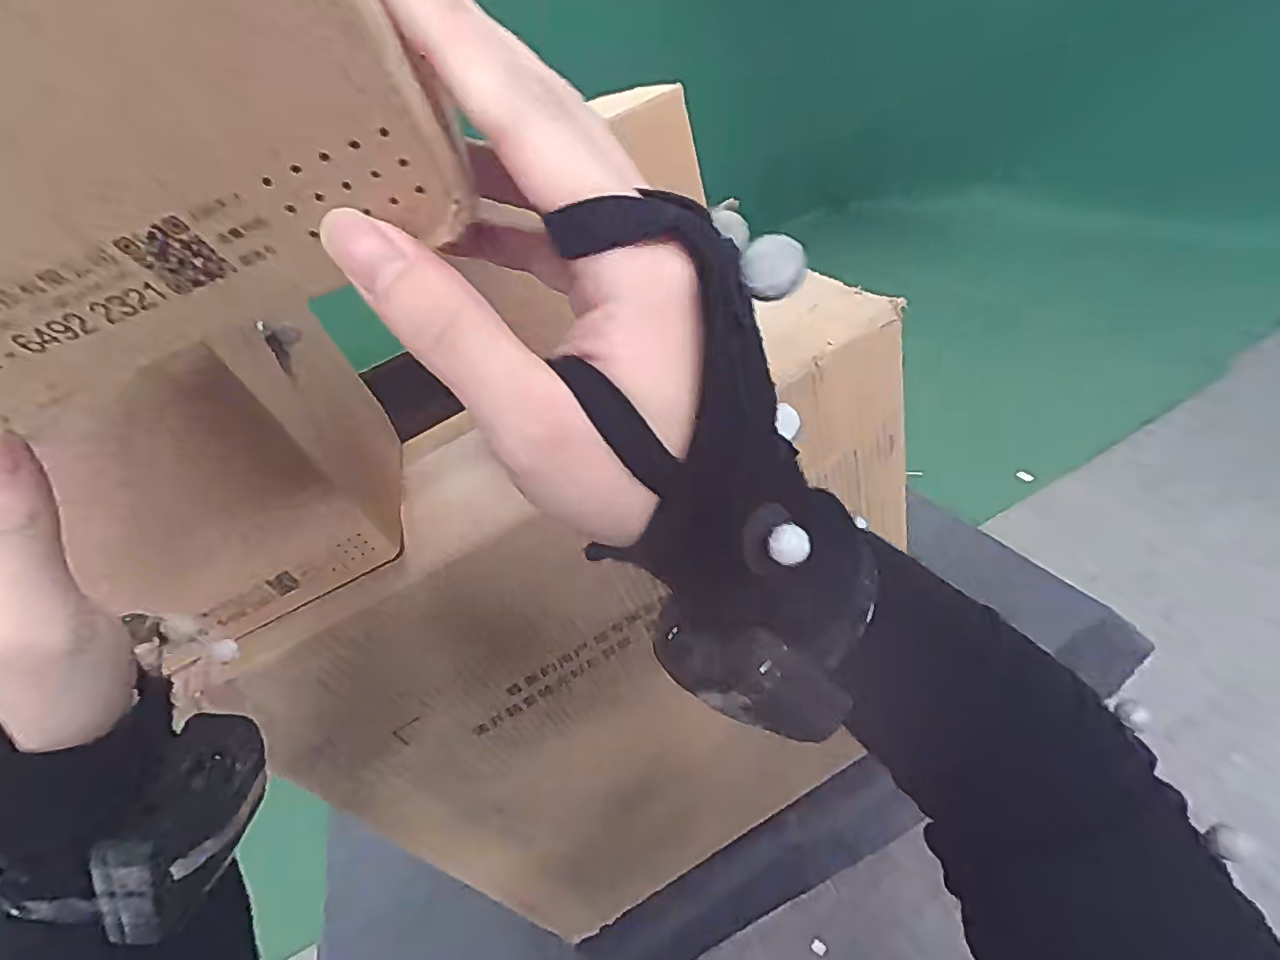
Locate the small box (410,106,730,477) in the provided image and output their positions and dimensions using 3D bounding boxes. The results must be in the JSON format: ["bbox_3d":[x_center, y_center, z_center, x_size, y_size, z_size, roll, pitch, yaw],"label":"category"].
[{"bbox_3d":[-0.062,-0.131,0.379,0.168,0.176,0.179,-32,40,-11],"label":"small box"}]

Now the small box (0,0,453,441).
[{"bbox_3d":[-0.157,-0.130,0.104,0.168,0.176,0.179,-20,62,4],"label":"small box"}]

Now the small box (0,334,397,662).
[{"bbox_3d":[-0.276,-0.013,0.343,0.168,0.176,0.179,-28,37,-4],"label":"small box"}]
